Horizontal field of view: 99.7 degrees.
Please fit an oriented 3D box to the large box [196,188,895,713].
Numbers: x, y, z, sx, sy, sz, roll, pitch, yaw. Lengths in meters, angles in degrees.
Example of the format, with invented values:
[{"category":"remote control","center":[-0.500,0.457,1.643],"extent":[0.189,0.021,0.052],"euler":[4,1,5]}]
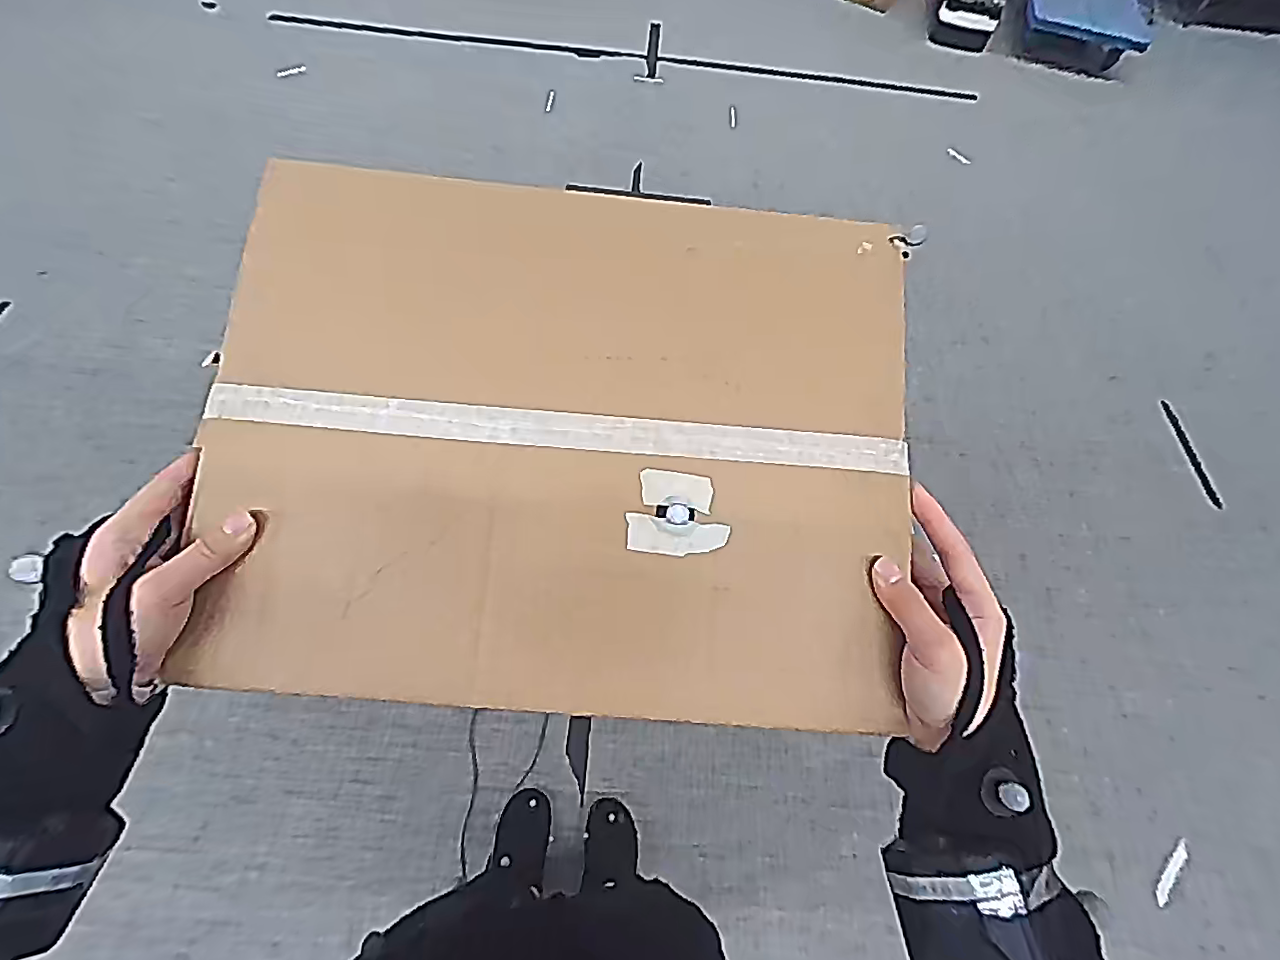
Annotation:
[{"category":"large box","center":[-0.048,-0.002,0.478],"extent":[0.408,0.320,0.320],"euler":[5,81,-2]}]
